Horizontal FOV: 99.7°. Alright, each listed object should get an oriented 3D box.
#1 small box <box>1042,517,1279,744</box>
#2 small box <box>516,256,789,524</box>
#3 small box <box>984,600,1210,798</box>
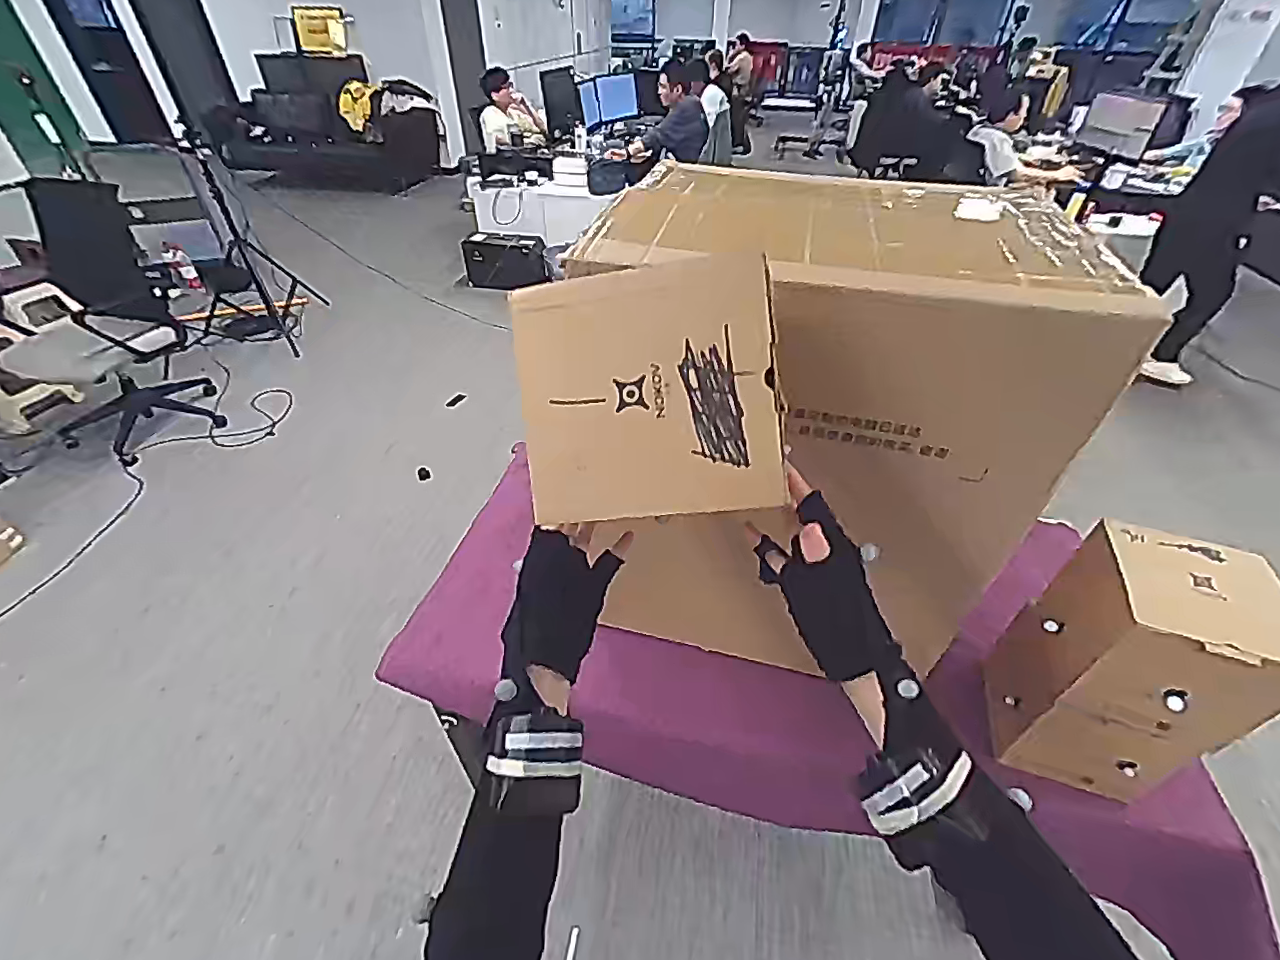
[{"bbox_3d":[0.622,0.180,0.650,0.168,0.176,0.179,17,43,16],"label":"small box"},{"bbox_3d":[0.020,-0.062,0.443,0.179,0.168,0.176,-6,2,13],"label":"small box"},{"bbox_3d":[0.612,0.306,0.756,0.168,0.176,0.179,14,41,14],"label":"small box"}]
